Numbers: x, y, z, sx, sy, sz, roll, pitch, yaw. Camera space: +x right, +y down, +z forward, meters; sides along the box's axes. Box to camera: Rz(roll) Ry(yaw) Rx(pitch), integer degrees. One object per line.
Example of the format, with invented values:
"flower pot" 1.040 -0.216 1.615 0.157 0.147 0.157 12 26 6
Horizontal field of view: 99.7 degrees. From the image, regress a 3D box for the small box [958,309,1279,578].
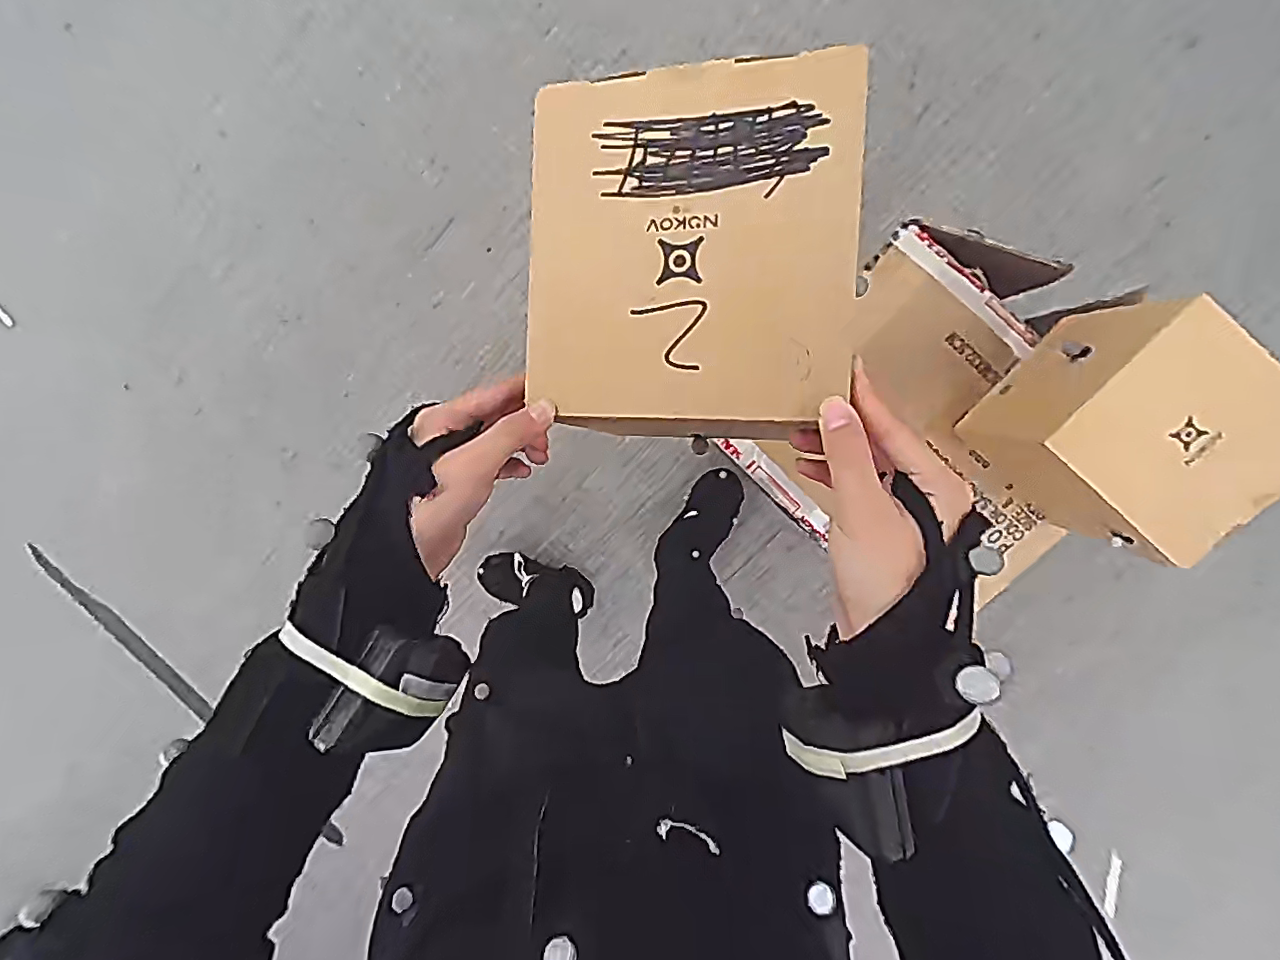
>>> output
"small box" 0.469 -0.038 0.539 0.179 0.176 0.168 41 100 -3
